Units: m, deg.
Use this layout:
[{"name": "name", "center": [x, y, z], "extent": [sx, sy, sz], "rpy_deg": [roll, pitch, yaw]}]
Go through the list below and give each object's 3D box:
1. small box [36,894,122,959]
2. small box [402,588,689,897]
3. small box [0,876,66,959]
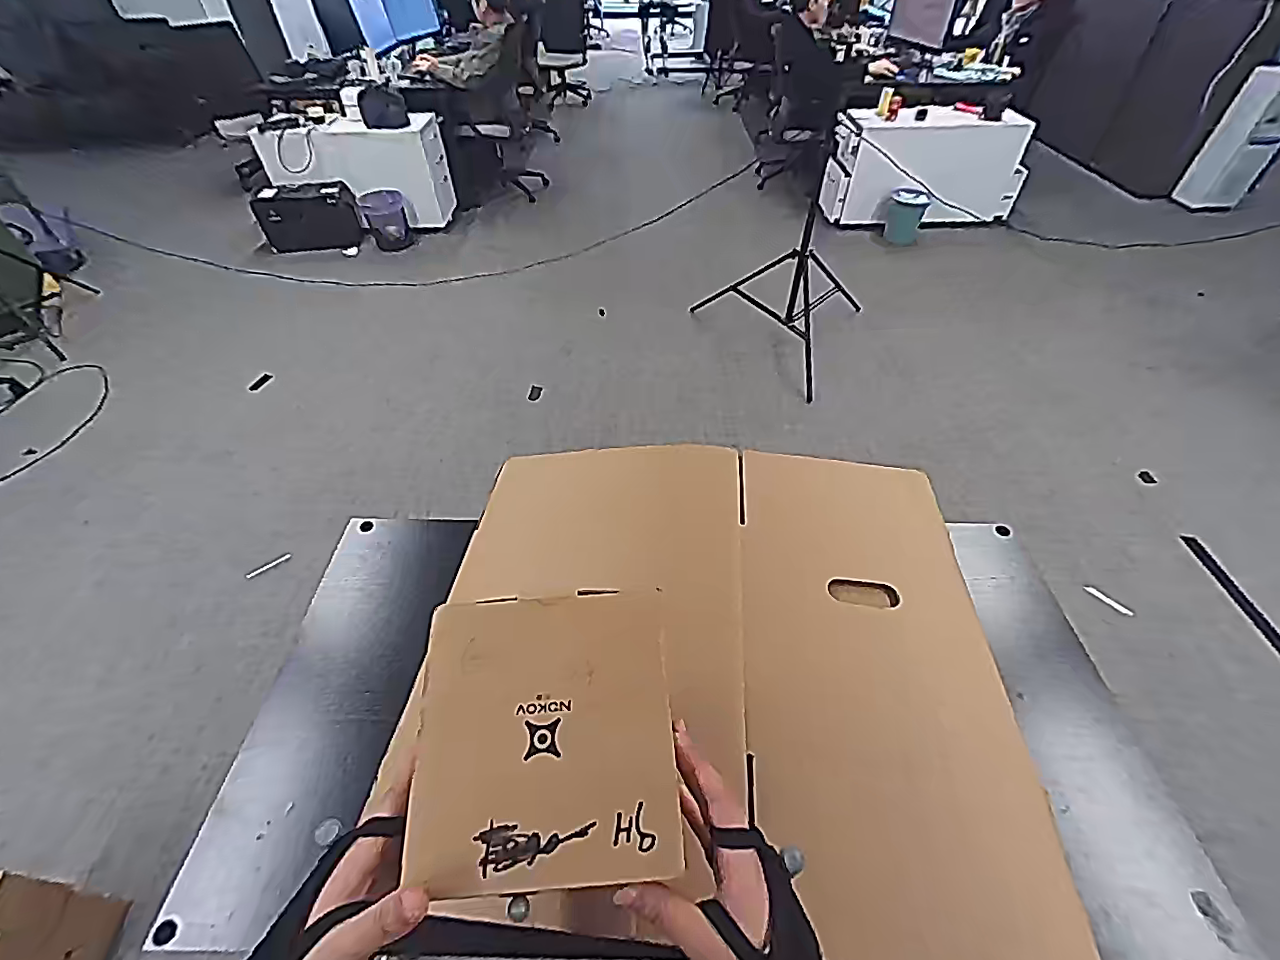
[{"name": "small box", "center": [-1.200, 0.947, 1.072], "extent": [0.168, 0.176, 0.179], "rpy_deg": [-3, 47, -2]}, {"name": "small box", "center": [-0.055, 0.201, 0.417], "extent": [0.168, 0.176, 0.179], "rpy_deg": [-5, 57, 1]}, {"name": "small box", "center": [-1.204, 0.830, 0.959], "extent": [0.168, 0.176, 0.179], "rpy_deg": [-5, 45, -5]}]
